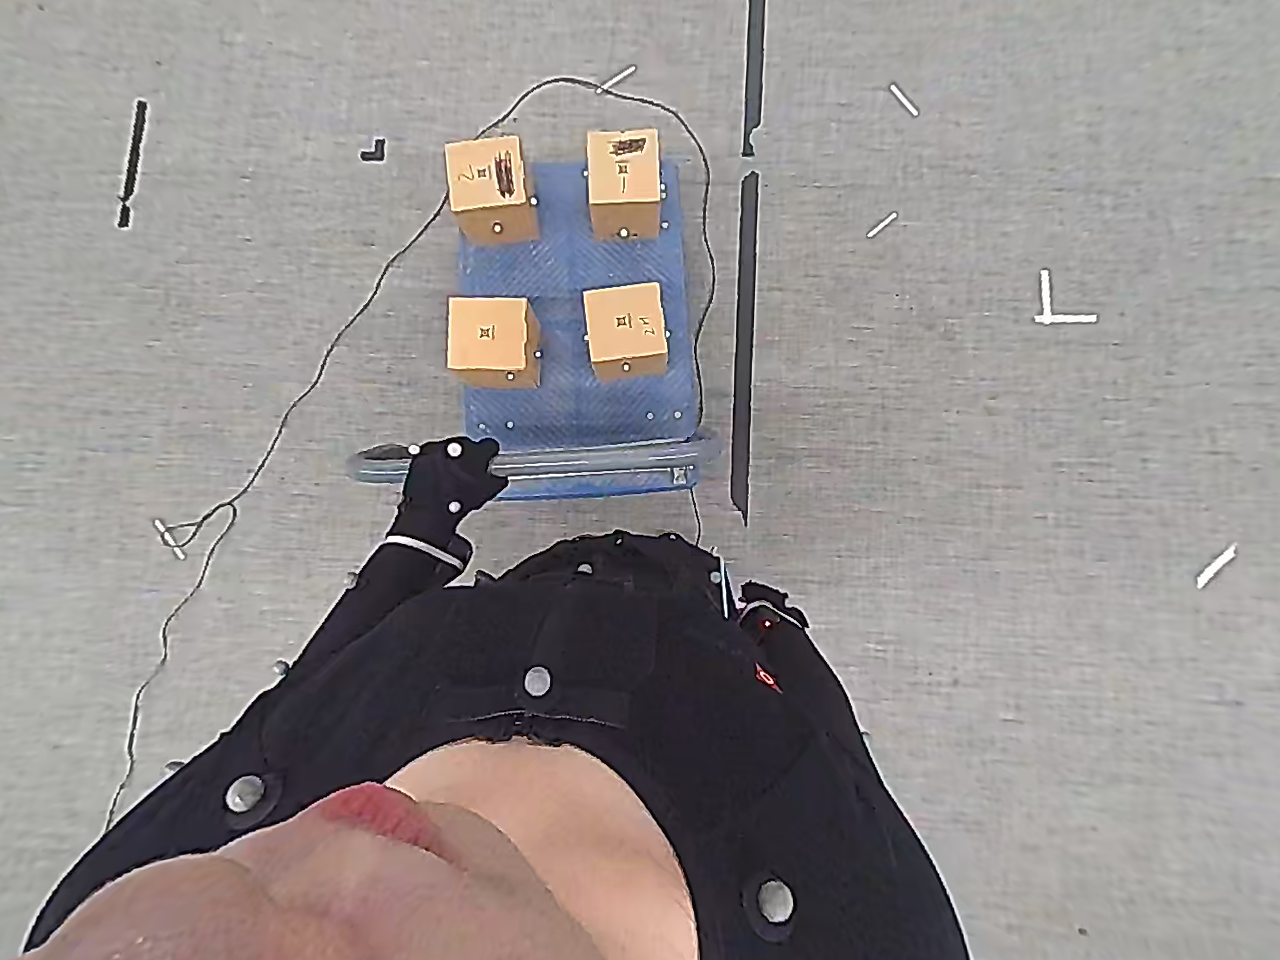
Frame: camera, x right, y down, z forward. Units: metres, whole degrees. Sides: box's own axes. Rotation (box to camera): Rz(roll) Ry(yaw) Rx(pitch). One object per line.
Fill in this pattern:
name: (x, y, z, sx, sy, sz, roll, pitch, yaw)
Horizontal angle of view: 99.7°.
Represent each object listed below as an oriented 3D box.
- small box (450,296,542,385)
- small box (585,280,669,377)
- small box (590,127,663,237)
small box: (-0.335, -0.325, 1.284, 0.179, 0.176, 0.168, -1, 85, -1)
small box: (-0.027, -0.350, 1.282, 0.179, 0.176, 0.168, -7, 86, 0)
small box: (-0.033, -0.715, 1.309, 0.168, 0.176, 0.179, -2, 87, 1)
